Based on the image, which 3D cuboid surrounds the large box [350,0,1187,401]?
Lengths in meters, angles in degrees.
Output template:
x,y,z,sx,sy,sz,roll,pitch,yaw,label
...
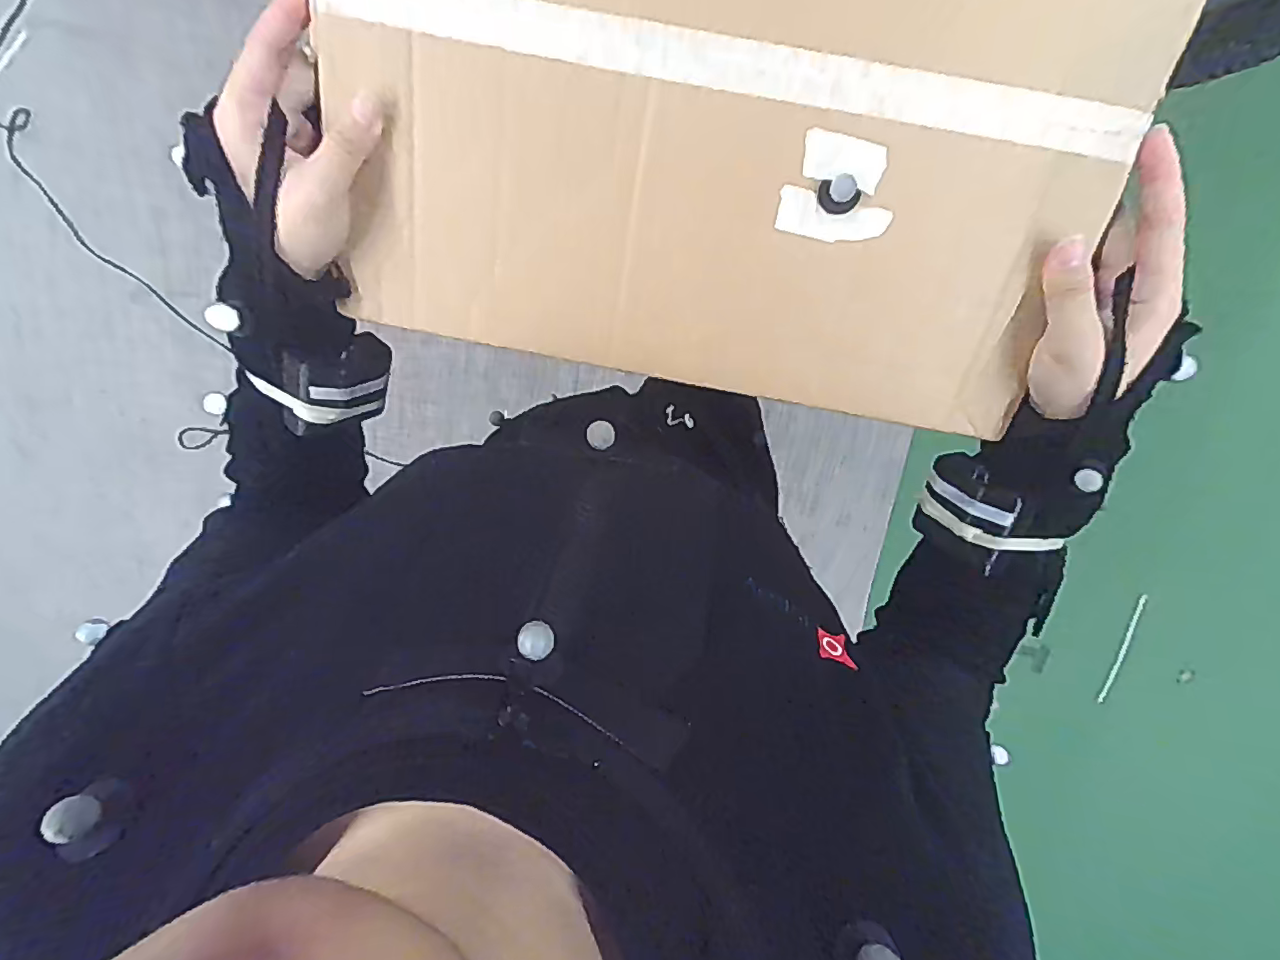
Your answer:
x,y,z,sx,sy,sz,roll,pitch,yaw,label
0.058,-0.274,0.407,0.408,0.320,0.320,10,114,-1,large box
